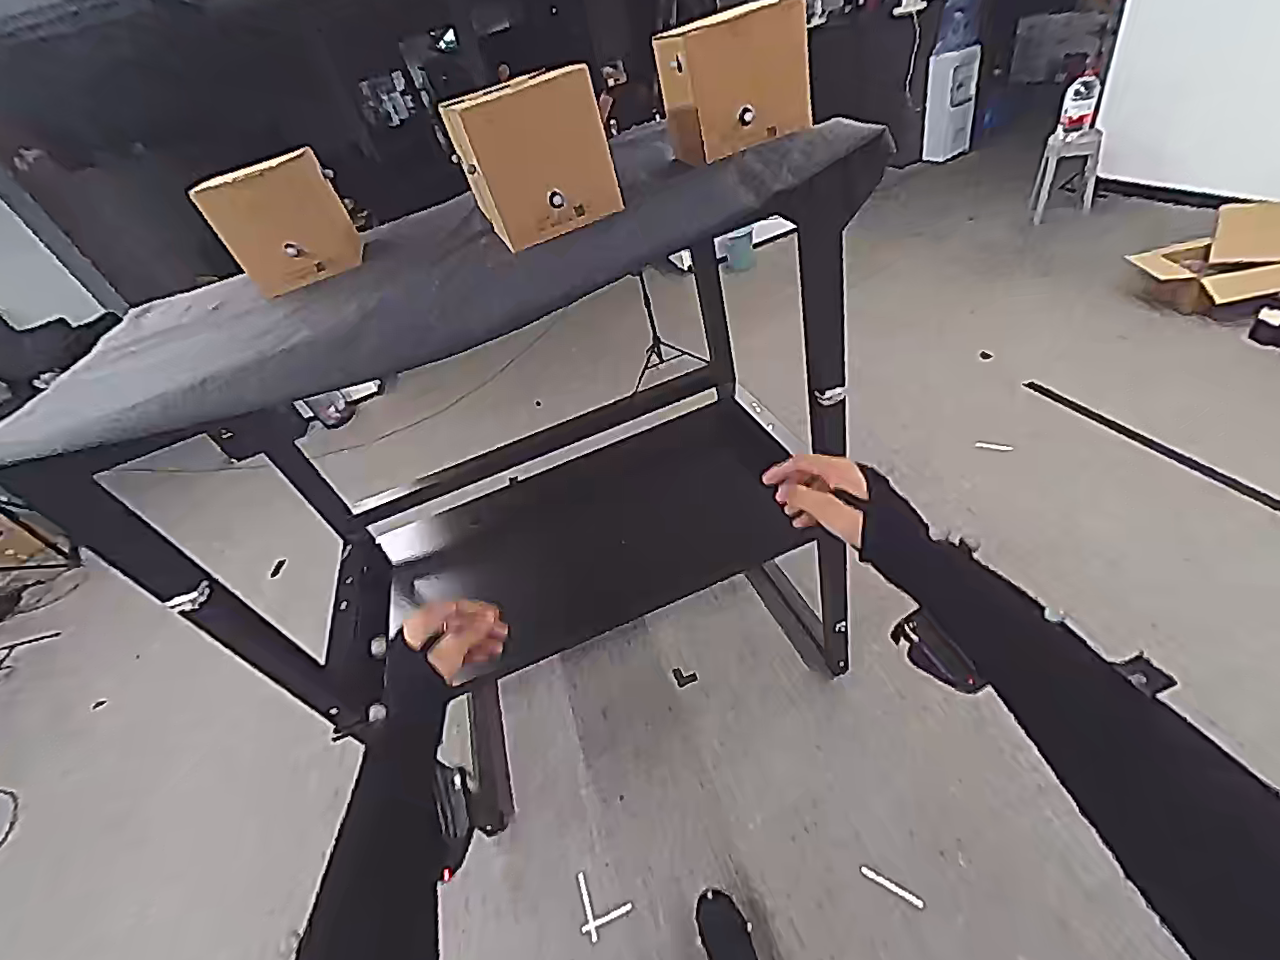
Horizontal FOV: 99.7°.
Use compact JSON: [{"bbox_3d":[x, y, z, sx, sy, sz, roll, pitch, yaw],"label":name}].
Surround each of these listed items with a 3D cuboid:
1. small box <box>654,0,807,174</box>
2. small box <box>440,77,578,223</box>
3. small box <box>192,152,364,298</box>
[{"bbox_3d":[0.134,-0.577,0.806,0.168,0.176,0.179,-20,39,-1],"label":"small box"},{"bbox_3d":[-0.221,-0.557,0.920,0.168,0.176,0.179,-24,39,-7],"label":"small box"},{"bbox_3d":[-0.592,-0.430,0.914,0.168,0.176,0.179,-25,41,-8],"label":"small box"}]
